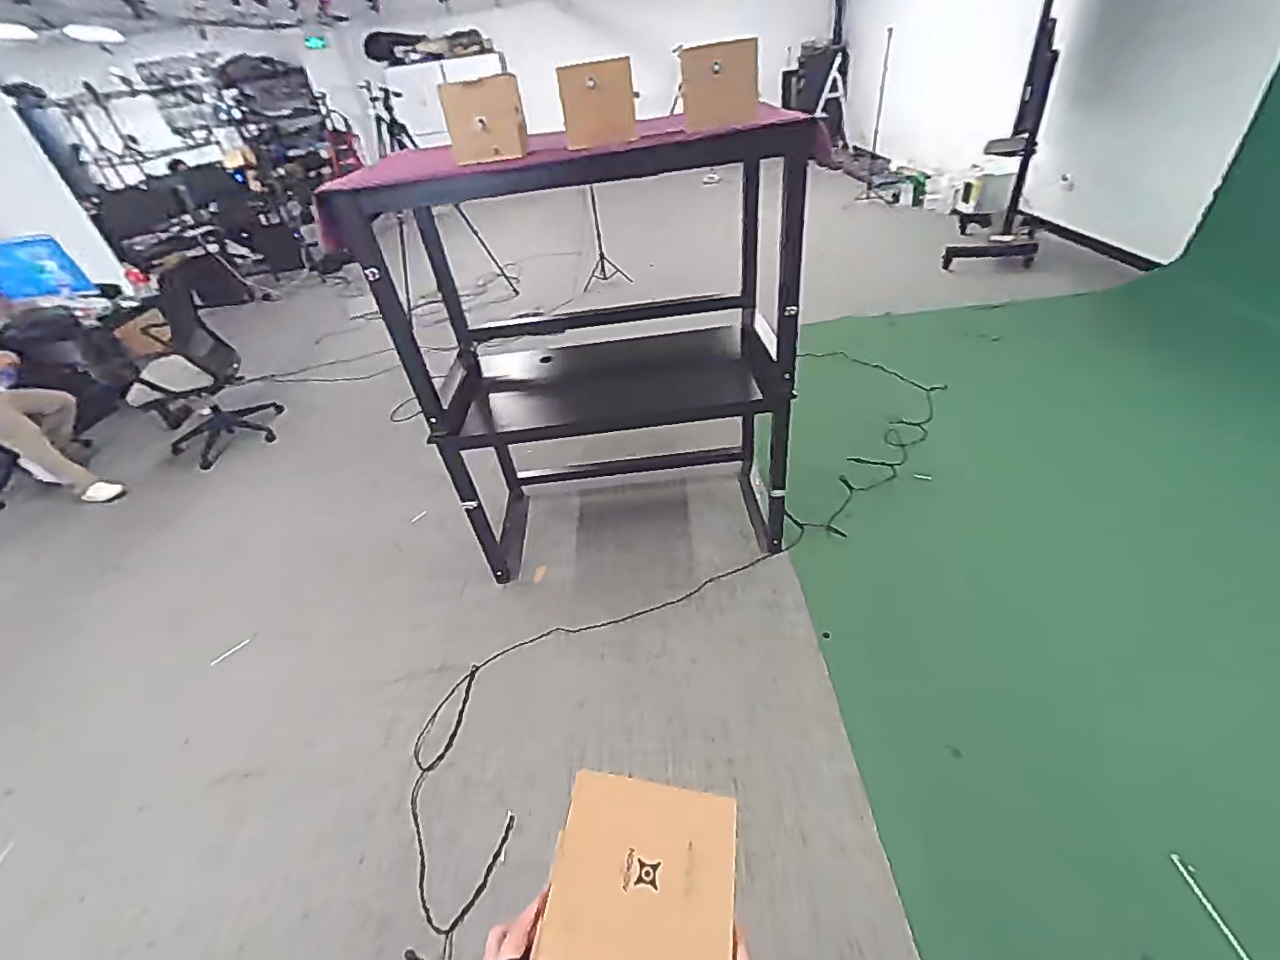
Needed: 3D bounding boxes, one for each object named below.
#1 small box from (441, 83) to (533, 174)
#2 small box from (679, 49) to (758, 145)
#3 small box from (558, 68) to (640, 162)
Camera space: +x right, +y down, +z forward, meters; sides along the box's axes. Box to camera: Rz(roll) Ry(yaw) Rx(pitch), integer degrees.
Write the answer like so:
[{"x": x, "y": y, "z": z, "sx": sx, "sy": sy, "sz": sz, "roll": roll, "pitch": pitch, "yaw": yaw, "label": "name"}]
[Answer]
[{"x": -0.374, "y": -0.879, "z": 1.358, "sx": 0.168, "sy": 0.176, "sz": 0.179, "roll": -6, "pitch": 37, "yaw": 2, "label": "small box"}, {"x": 0.192, "y": -0.938, "z": 1.328, "sx": 0.179, "sy": 0.176, "sz": 0.168, "roll": -4, "pitch": 39, "yaw": 6, "label": "small box"}, {"x": -0.093, "y": -0.909, "z": 1.347, "sx": 0.179, "sy": 0.176, "sz": 0.168, "roll": -7, "pitch": 36, "yaw": 4, "label": "small box"}]
